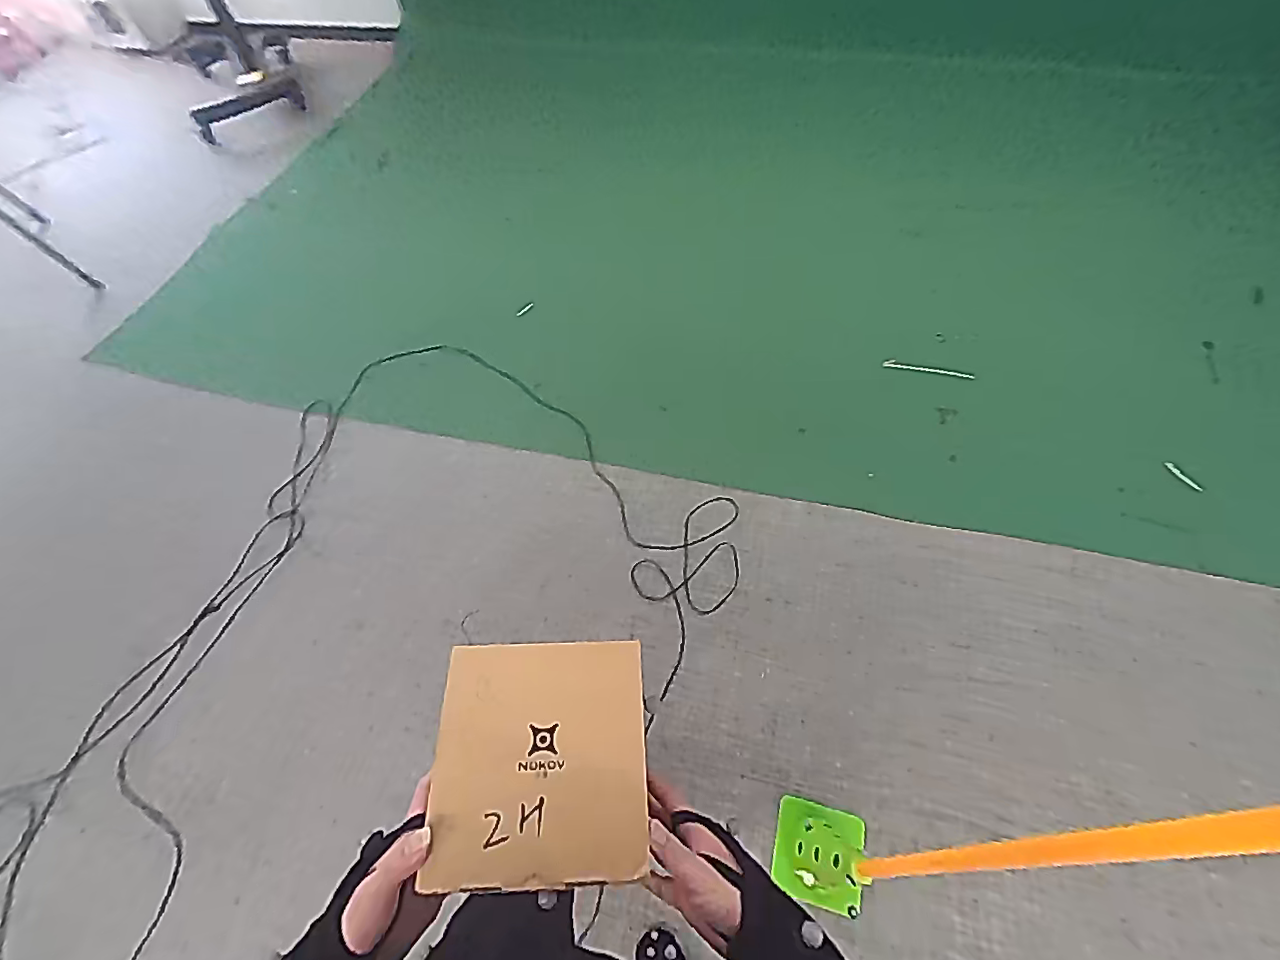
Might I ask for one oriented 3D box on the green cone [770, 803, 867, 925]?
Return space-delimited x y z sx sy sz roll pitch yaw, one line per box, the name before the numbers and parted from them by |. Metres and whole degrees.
green cone | 0.403 0.797 1.116 0.202 0.368 0.200 11 59 11
